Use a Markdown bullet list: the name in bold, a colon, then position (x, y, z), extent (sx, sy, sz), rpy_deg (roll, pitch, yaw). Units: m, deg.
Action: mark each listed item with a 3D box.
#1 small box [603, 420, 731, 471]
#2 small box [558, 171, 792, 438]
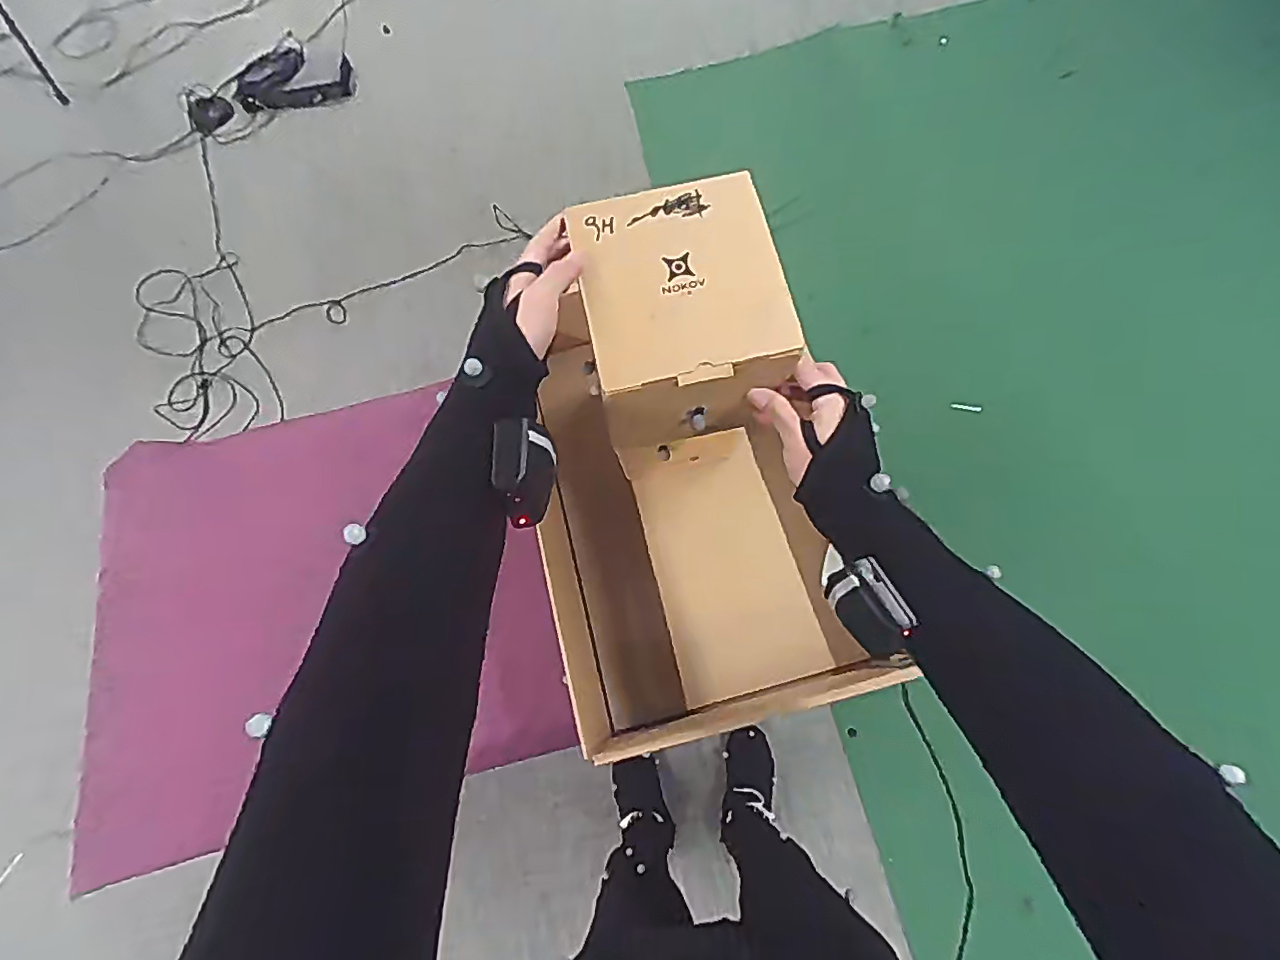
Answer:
- **small box**: position (0.031, -0.124, 0.765), extent (0.168, 0.176, 0.179), rpy_deg (-14, 70, 2)
- **small box**: position (0.029, -0.149, 0.521), extent (0.168, 0.176, 0.179), rpy_deg (-12, 78, -2)
